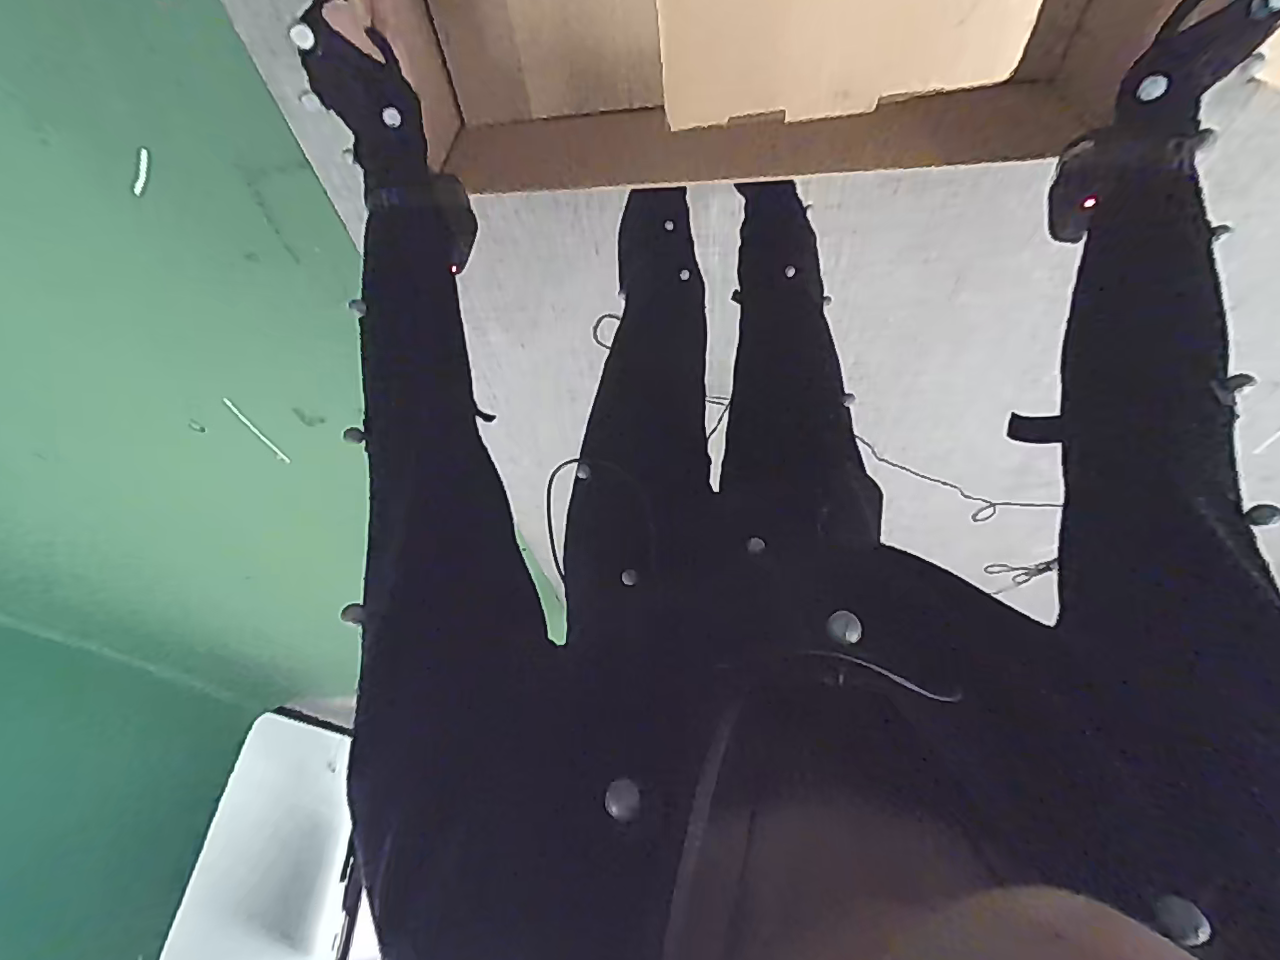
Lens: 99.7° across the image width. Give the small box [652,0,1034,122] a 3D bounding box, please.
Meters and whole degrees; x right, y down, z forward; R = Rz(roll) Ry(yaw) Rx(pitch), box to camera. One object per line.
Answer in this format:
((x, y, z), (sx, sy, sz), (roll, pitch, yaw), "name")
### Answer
((0.083, -0.301, 0.238), (0.168, 0.176, 0.179), (-4, 146, 7), "small box")
